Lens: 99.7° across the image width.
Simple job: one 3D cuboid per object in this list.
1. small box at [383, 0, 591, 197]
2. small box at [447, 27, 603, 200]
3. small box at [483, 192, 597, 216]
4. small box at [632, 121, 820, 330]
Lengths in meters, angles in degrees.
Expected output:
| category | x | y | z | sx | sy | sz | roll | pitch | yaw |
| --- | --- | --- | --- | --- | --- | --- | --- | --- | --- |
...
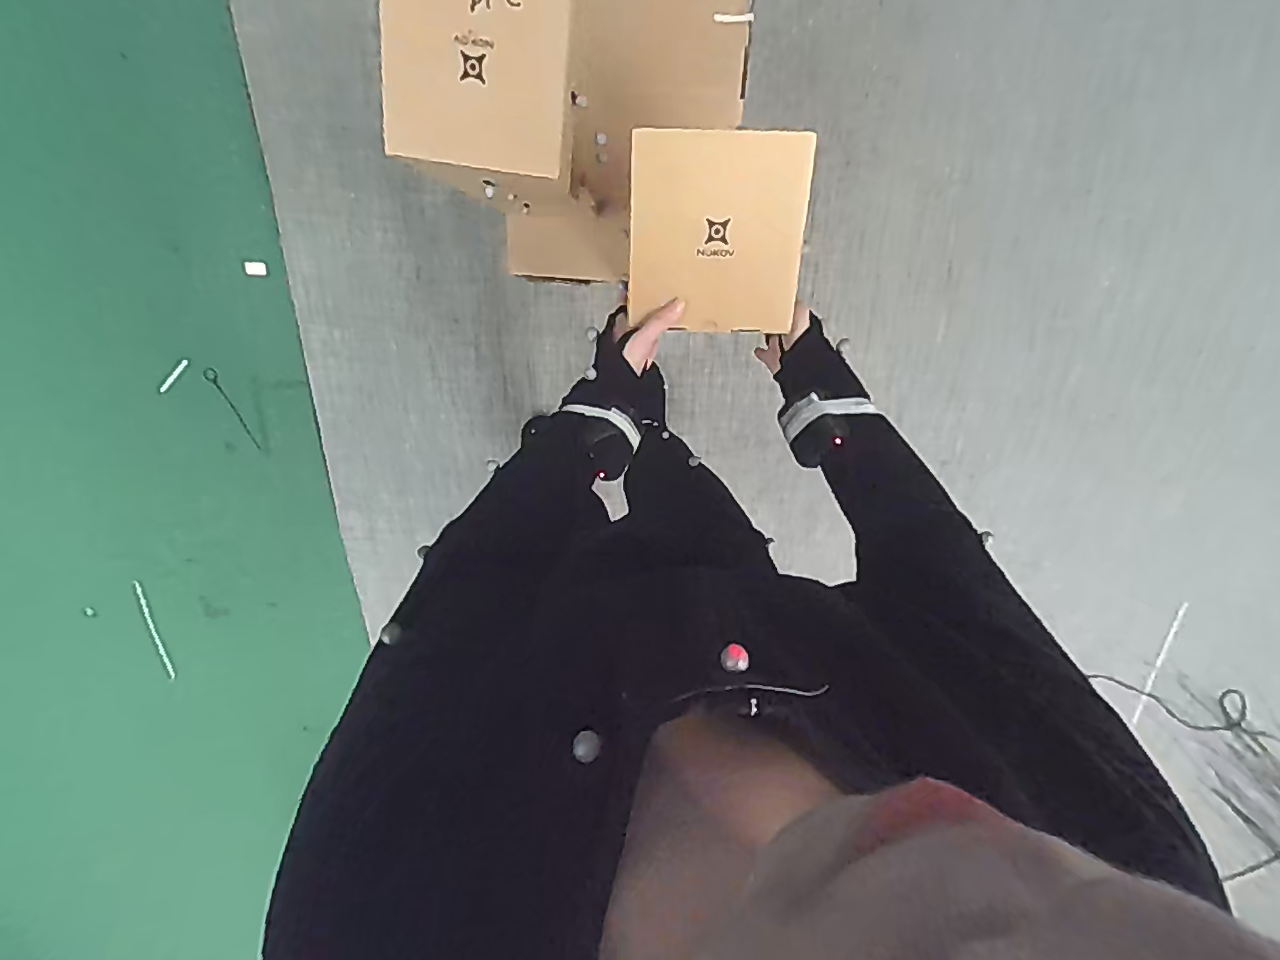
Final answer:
| category | x | y | z | sx | sy | sz | roll | pitch | yaw |
| --- | --- | --- | --- | --- | --- | --- | --- | --- | --- |
| small box | -0.144 | -0.403 | 0.553 | 0.168 | 0.176 | 0.179 | 7 | 110 | -3 |
| small box | -0.145 | -0.467 | 0.702 | 0.179 | 0.176 | 0.168 | 2 | 111 | 2 |
| small box | -0.153 | -0.530 | 0.857 | 0.168 | 0.176 | 0.179 | 2 | 110 | -1 |
| small box | 0.076 | -0.263 | 0.577 | 0.168 | 0.176 | 0.179 | 1 | 115 | 1 |
